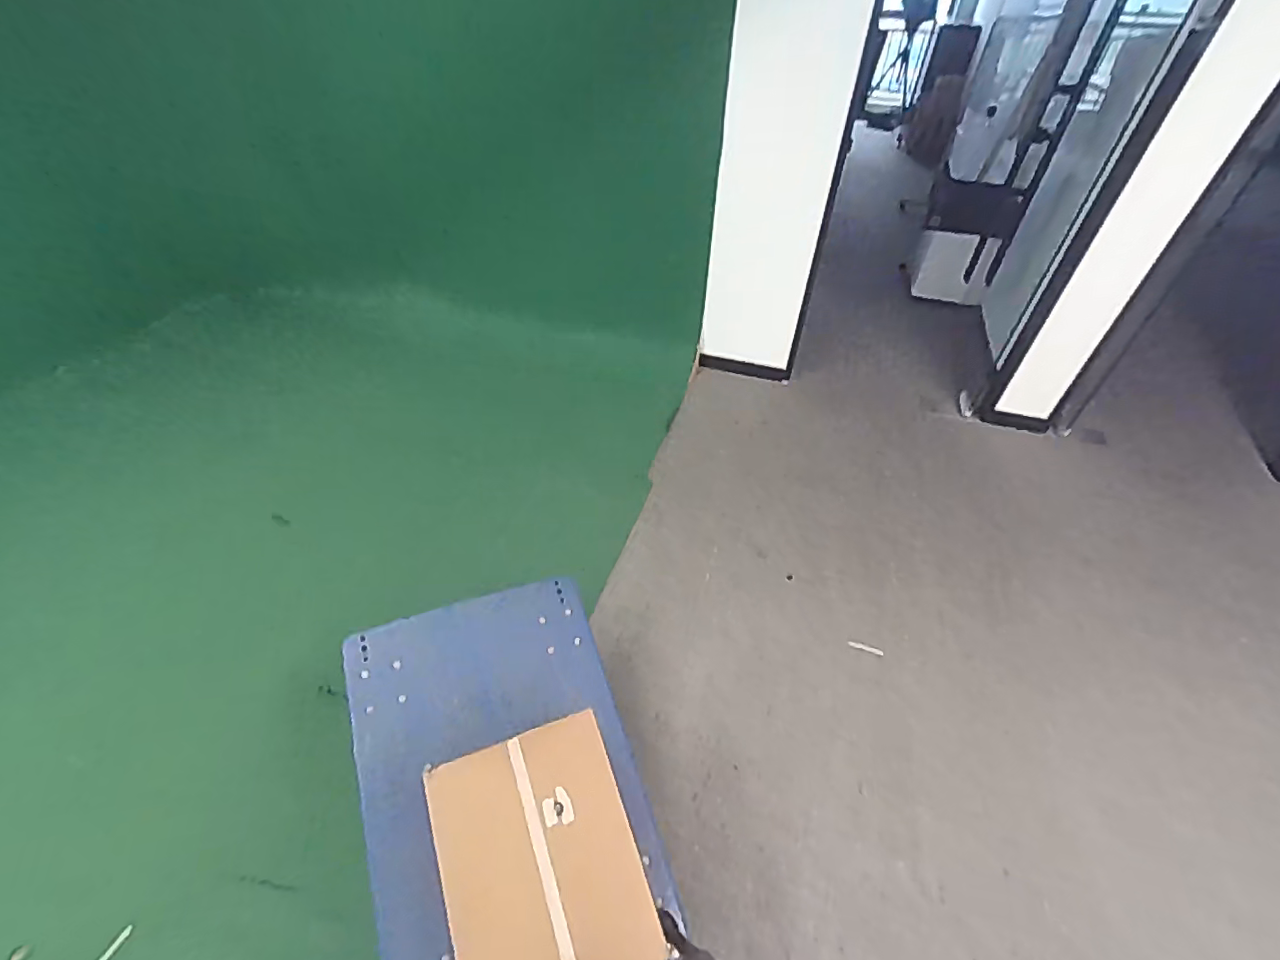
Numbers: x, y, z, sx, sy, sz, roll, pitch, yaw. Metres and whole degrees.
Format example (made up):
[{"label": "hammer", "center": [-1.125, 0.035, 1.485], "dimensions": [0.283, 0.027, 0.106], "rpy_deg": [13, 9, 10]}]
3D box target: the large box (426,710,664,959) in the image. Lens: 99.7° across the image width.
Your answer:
[{"label": "large box", "center": [-0.194, 0.721, 1.046], "dimensions": [0.320, 0.320, 0.408], "rpy_deg": [-13, 63, -20]}]
